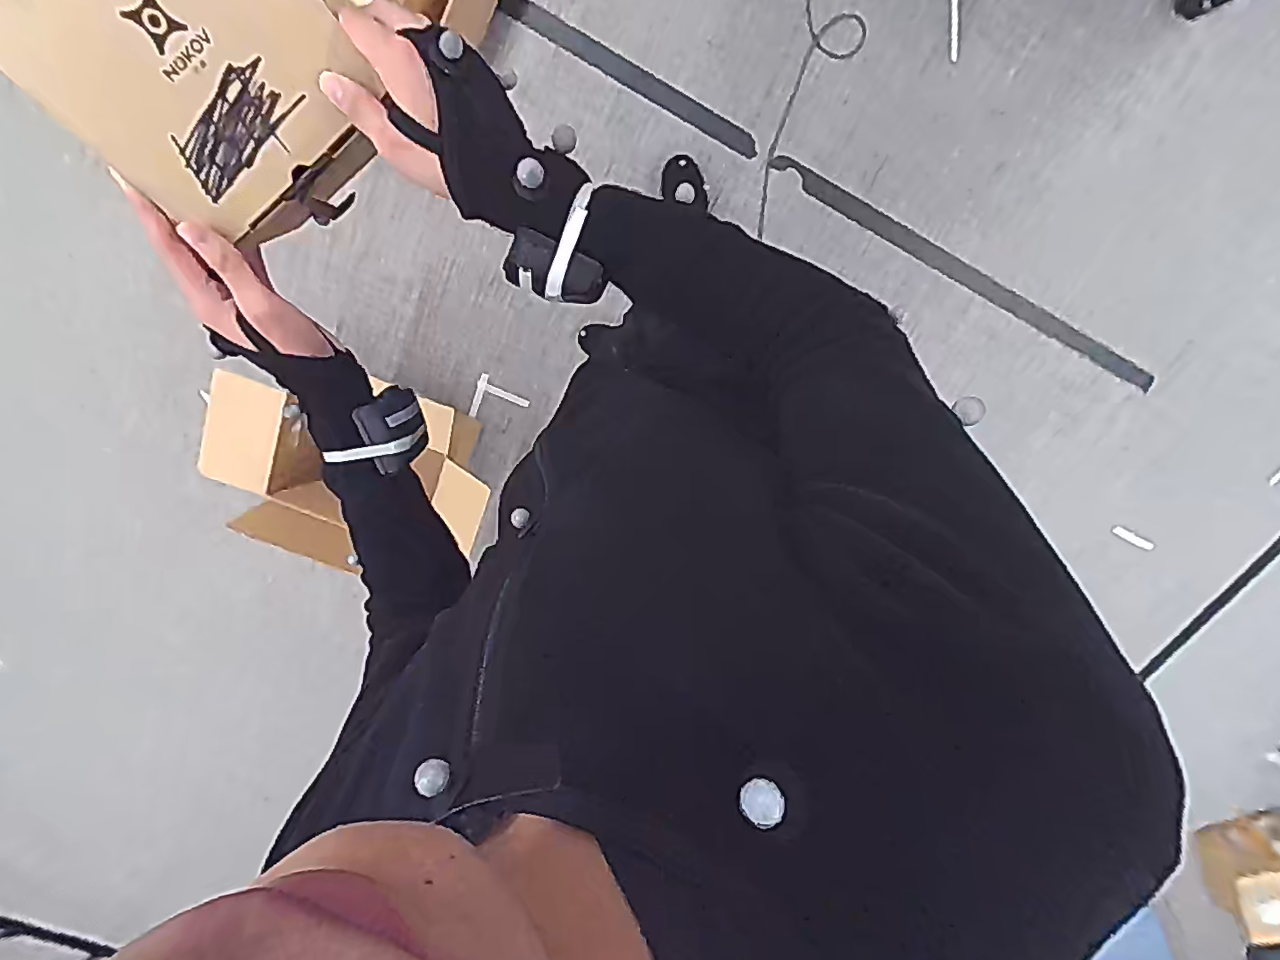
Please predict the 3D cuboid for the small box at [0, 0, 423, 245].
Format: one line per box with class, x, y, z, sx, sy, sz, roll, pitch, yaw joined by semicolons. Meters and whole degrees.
small box;-0.276;-0.298;0.370;0.168;0.176;0.179;-36;122;9
